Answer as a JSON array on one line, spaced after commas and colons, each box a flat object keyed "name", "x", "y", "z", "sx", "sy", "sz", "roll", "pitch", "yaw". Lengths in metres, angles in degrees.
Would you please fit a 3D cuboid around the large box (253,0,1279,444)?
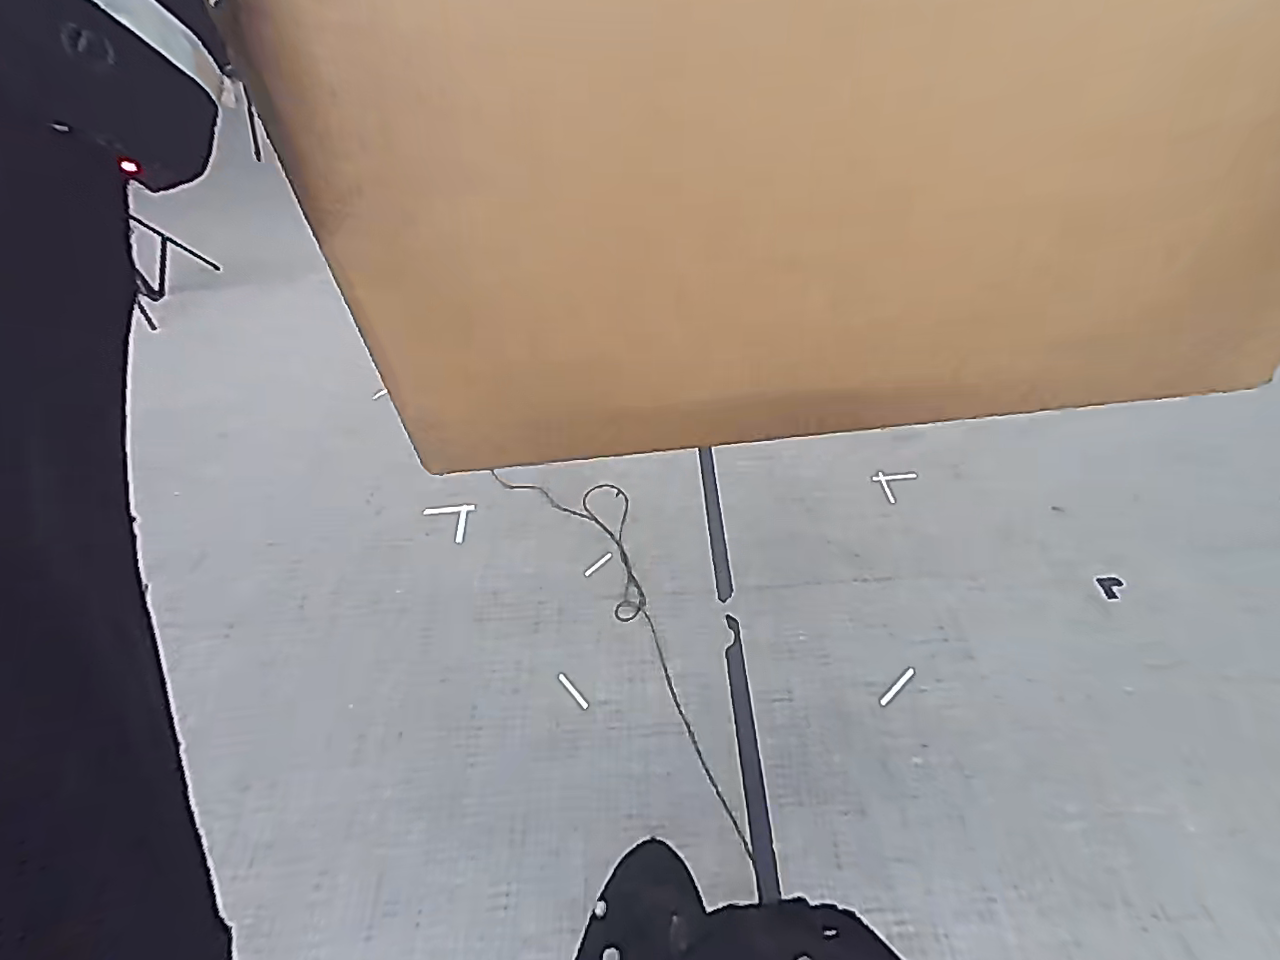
[{"name": "large box", "x": 0.069, "y": -0.244, "z": 0.287, "sx": 0.408, "sy": 0.320, "sz": 0.320, "roll": -6, "pitch": 41, "yaw": 0}]
